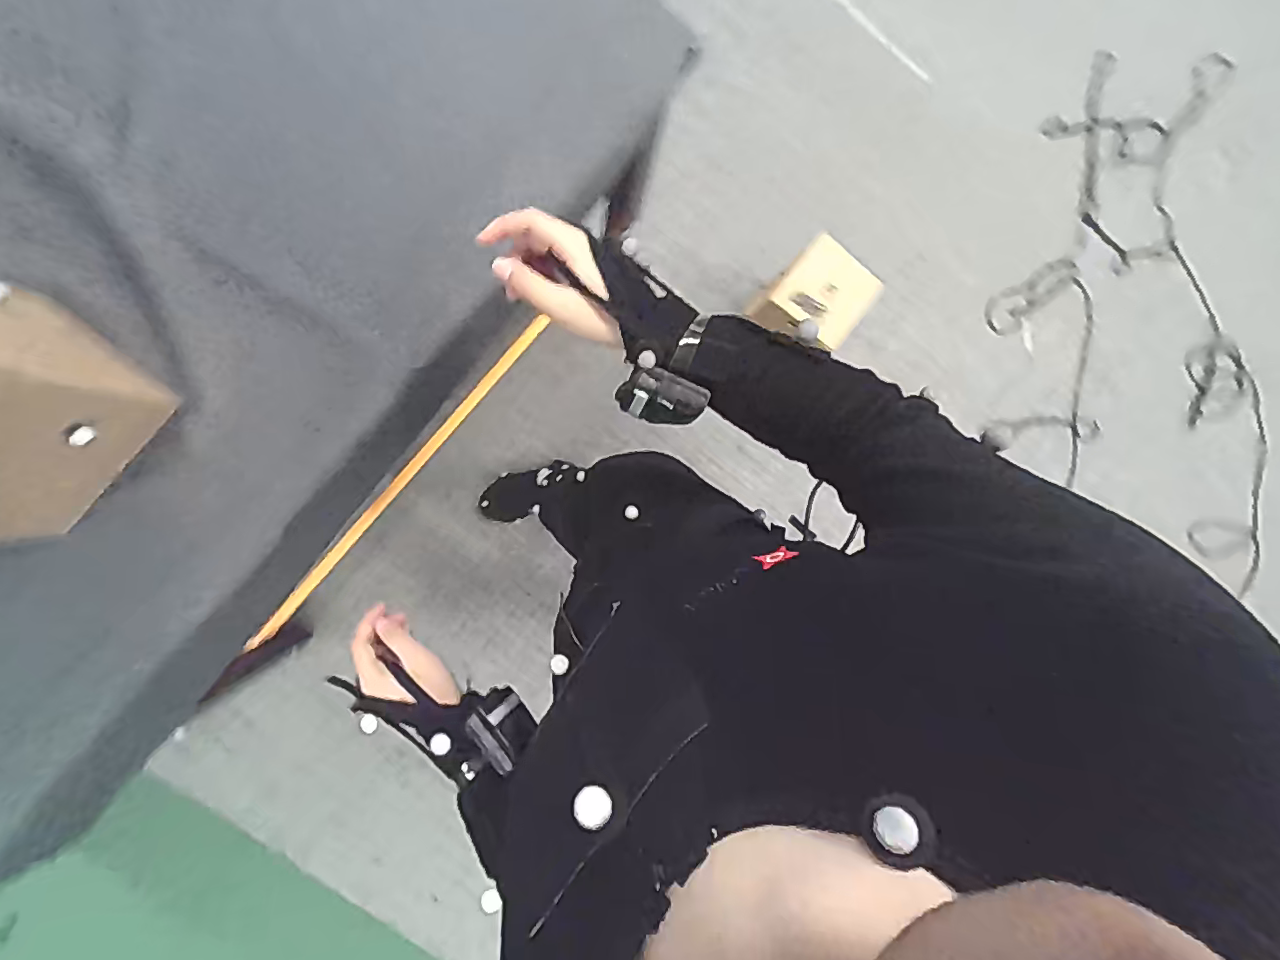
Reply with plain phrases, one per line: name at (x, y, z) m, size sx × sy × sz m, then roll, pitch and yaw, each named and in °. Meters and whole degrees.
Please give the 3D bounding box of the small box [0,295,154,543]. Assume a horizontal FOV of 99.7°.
small box at (-0.577, -0.059, 0.454) m, size 0.168 × 0.176 × 0.179 m, roll 38°, pitch 86°, yaw -5°

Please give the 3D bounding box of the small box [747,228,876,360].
small box at (0.346, -0.377, 1.137) m, size 0.168 × 0.176 × 0.179 m, roll 38°, pitch 85°, yaw -6°

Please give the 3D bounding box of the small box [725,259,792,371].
small box at (0.331, -0.391, 1.300) m, size 0.168 × 0.176 × 0.179 m, roll 40°, pitch 86°, yaw -5°
